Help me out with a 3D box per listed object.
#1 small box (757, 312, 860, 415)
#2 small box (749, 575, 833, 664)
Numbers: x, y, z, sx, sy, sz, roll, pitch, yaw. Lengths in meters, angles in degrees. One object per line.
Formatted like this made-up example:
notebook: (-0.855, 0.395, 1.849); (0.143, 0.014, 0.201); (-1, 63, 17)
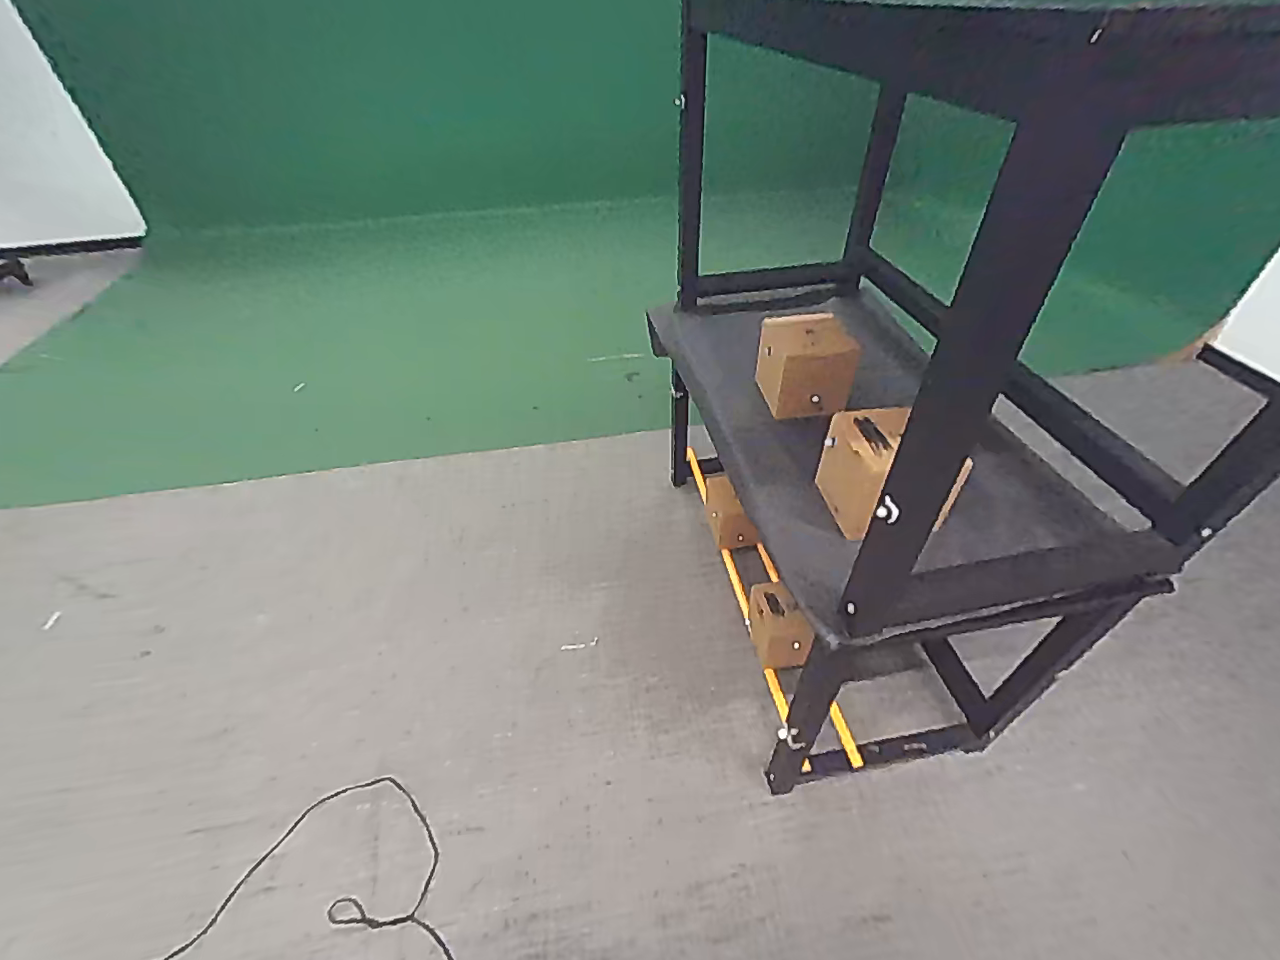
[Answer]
small box: (0.378, -0.271, 1.254); (0.168, 0.176, 0.179); (-6, 44, -4)
small box: (0.399, 0.382, 1.469); (0.179, 0.176, 0.168); (-6, 44, -3)
